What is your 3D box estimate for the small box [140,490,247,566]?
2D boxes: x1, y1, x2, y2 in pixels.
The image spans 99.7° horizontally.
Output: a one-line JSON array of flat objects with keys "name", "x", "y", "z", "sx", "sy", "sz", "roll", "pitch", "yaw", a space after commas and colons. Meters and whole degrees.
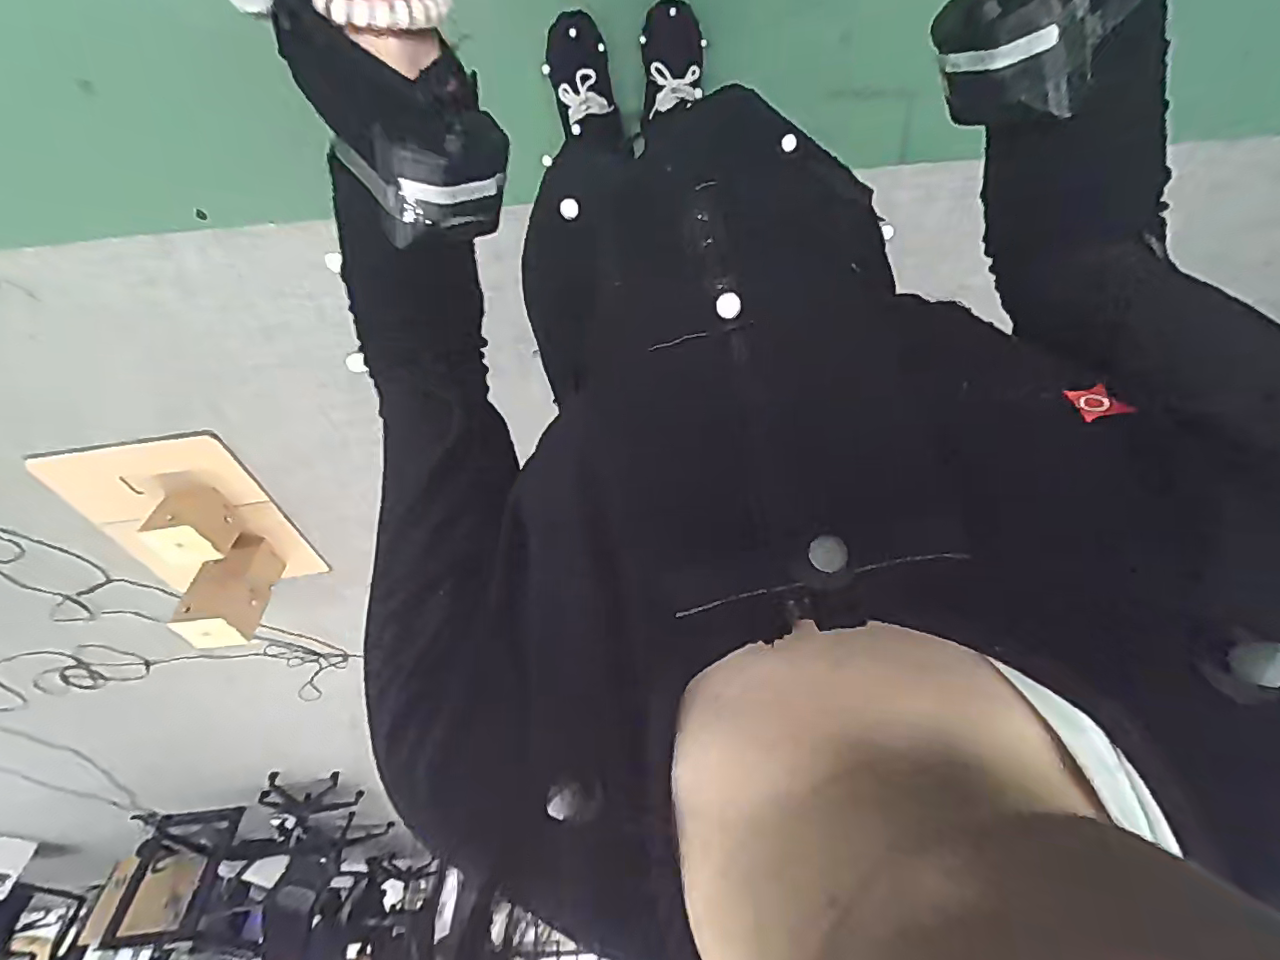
[{"name": "small box", "x": -1.439, "y": 0.153, "z": 1.755, "sx": 0.179, "sy": 0.176, "sz": 0.168, "roll": -9, "pitch": 133, "yaw": 2}]

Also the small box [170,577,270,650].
[{"name": "small box", "x": -1.390, "y": 0.443, "z": 1.805, "sx": 0.179, "sy": 0.176, "sz": 0.168, "roll": -6, "pitch": 135, "yaw": -1}]
